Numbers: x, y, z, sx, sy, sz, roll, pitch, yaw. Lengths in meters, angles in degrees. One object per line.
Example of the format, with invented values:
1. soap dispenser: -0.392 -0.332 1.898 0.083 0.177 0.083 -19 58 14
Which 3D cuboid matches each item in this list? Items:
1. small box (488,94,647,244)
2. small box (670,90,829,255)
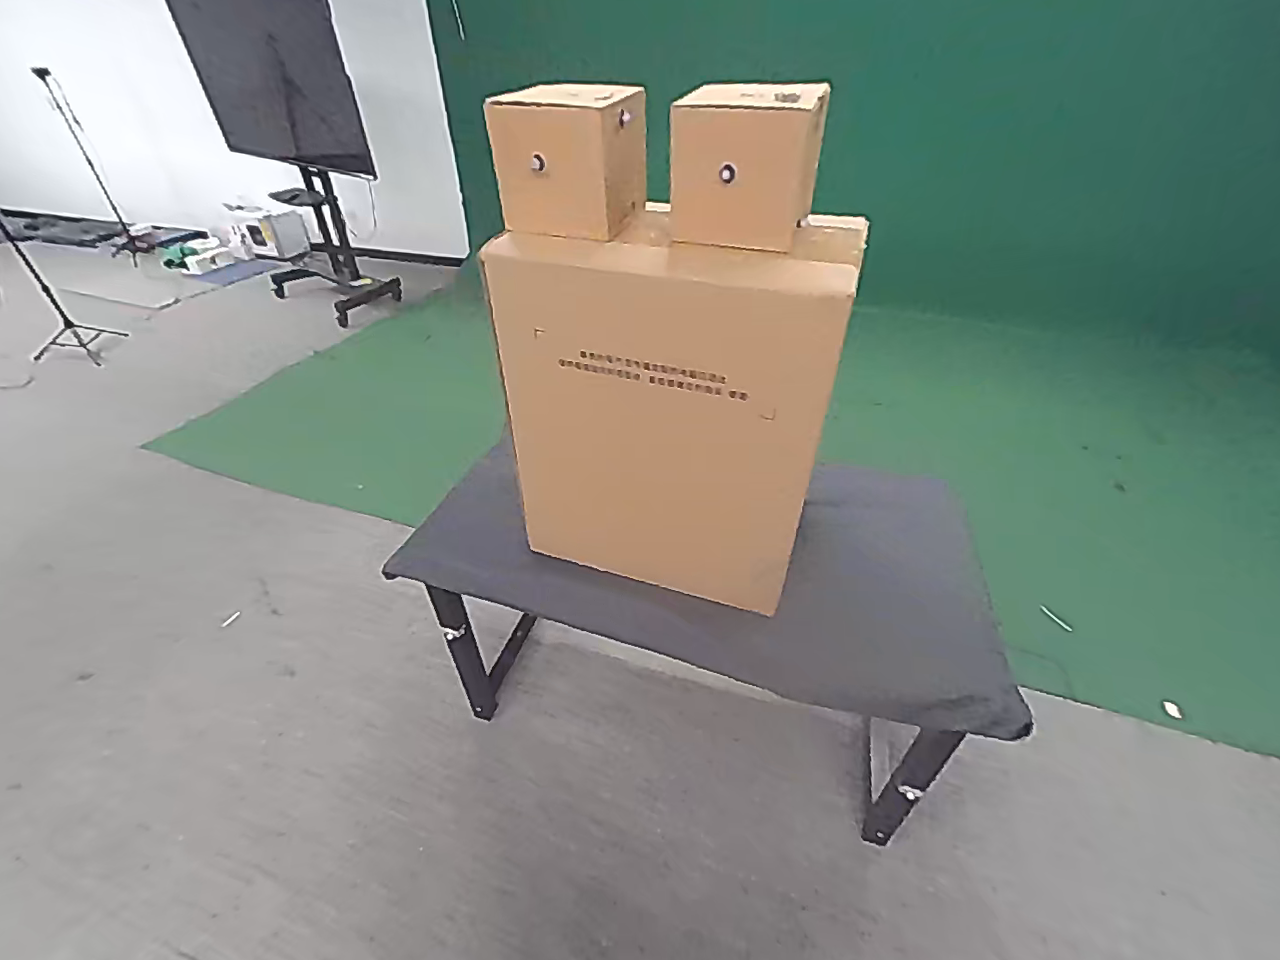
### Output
1. small box: -0.098 -0.471 0.819 0.179 0.176 0.168 13 45 17
2. small box: 0.151 -0.432 0.762 0.179 0.176 0.168 13 45 18
